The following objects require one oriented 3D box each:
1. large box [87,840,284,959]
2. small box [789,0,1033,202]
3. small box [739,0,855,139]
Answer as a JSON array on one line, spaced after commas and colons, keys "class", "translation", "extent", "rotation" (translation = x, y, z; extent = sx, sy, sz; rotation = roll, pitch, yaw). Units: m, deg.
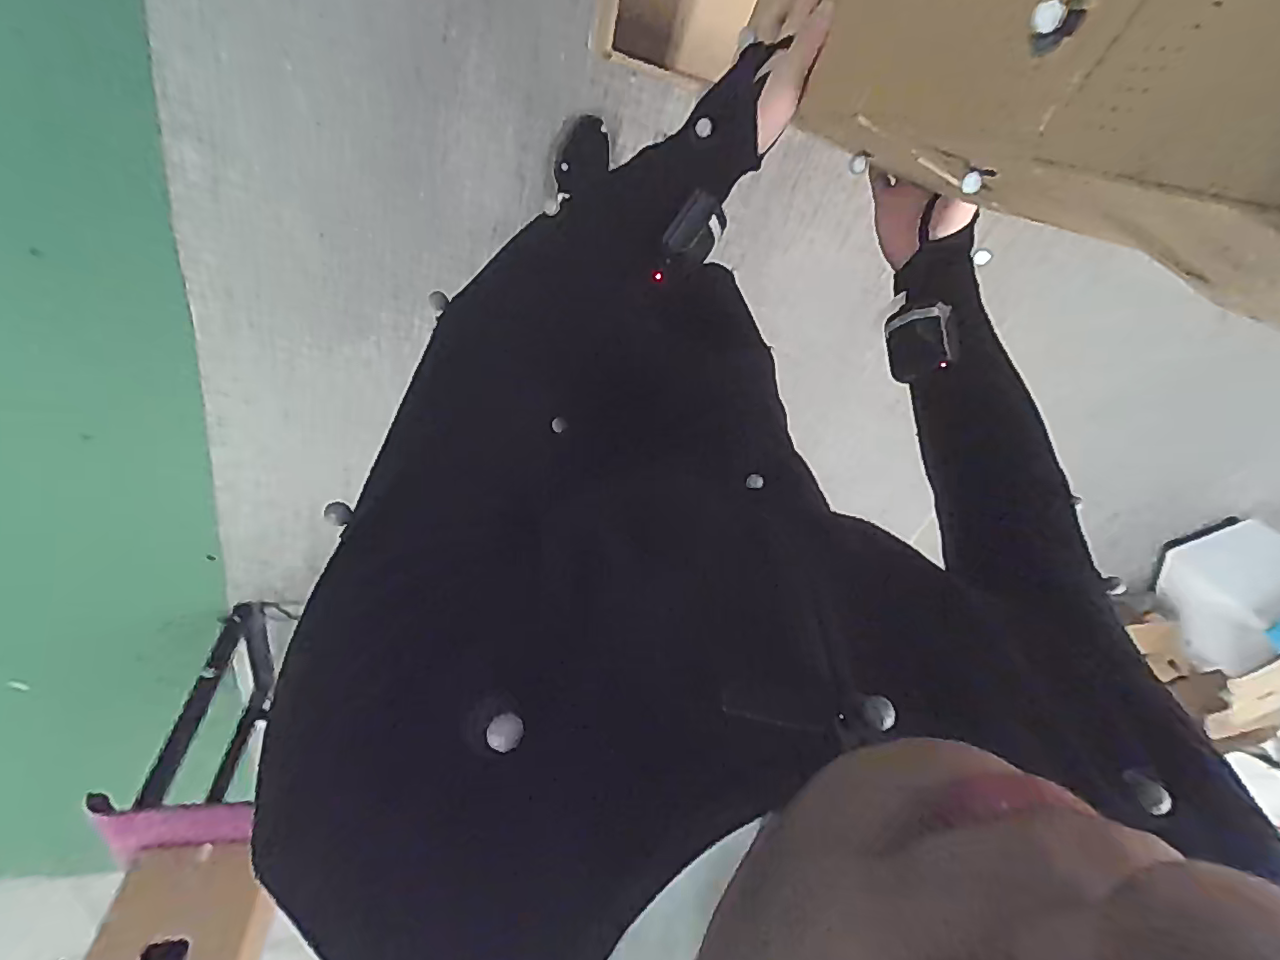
[{"class": "large box", "translation": [-1.147, 1.191, 1.389], "extent": [0.320, 0.320, 0.408], "rotation": [9, 125, -20]}, {"class": "small box", "translation": [0.238, -0.339, 0.393], "extent": [0.168, 0.176, 0.179], "rotation": [14, 124, -21]}, {"class": "small box", "translation": [0.214, -0.447, 0.516], "extent": [0.168, 0.176, 0.179], "rotation": [13, 123, -21]}]
